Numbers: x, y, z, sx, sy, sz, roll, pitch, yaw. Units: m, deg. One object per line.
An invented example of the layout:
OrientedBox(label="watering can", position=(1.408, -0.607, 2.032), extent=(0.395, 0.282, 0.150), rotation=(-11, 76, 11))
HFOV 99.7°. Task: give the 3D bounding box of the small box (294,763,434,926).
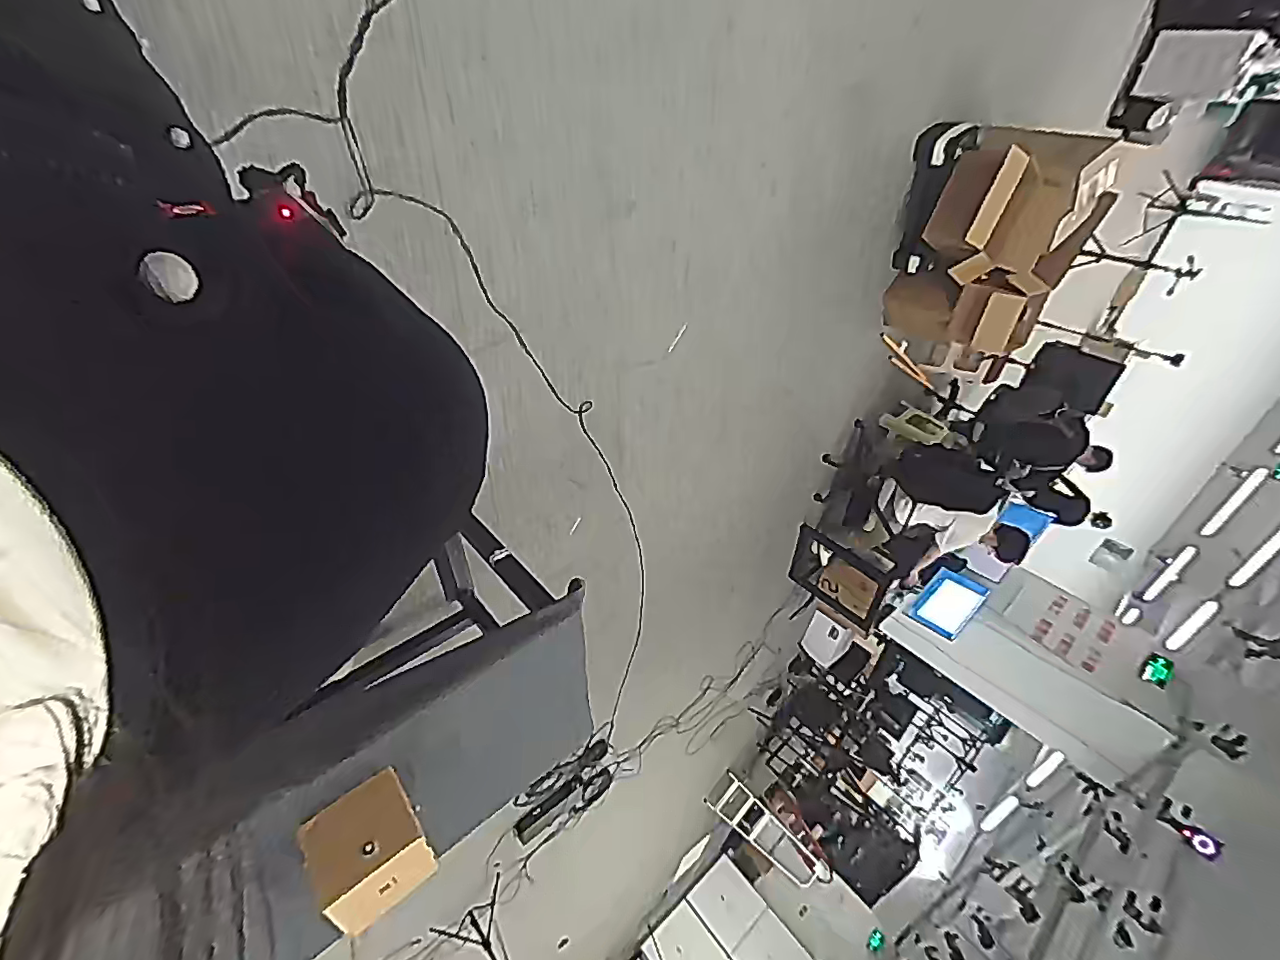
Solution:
OrientedBox(label="small box", position=(-0.532, 0.696, 1.050), extent=(0.179, 0.176, 0.168), rotation=(-27, 136, -32))
